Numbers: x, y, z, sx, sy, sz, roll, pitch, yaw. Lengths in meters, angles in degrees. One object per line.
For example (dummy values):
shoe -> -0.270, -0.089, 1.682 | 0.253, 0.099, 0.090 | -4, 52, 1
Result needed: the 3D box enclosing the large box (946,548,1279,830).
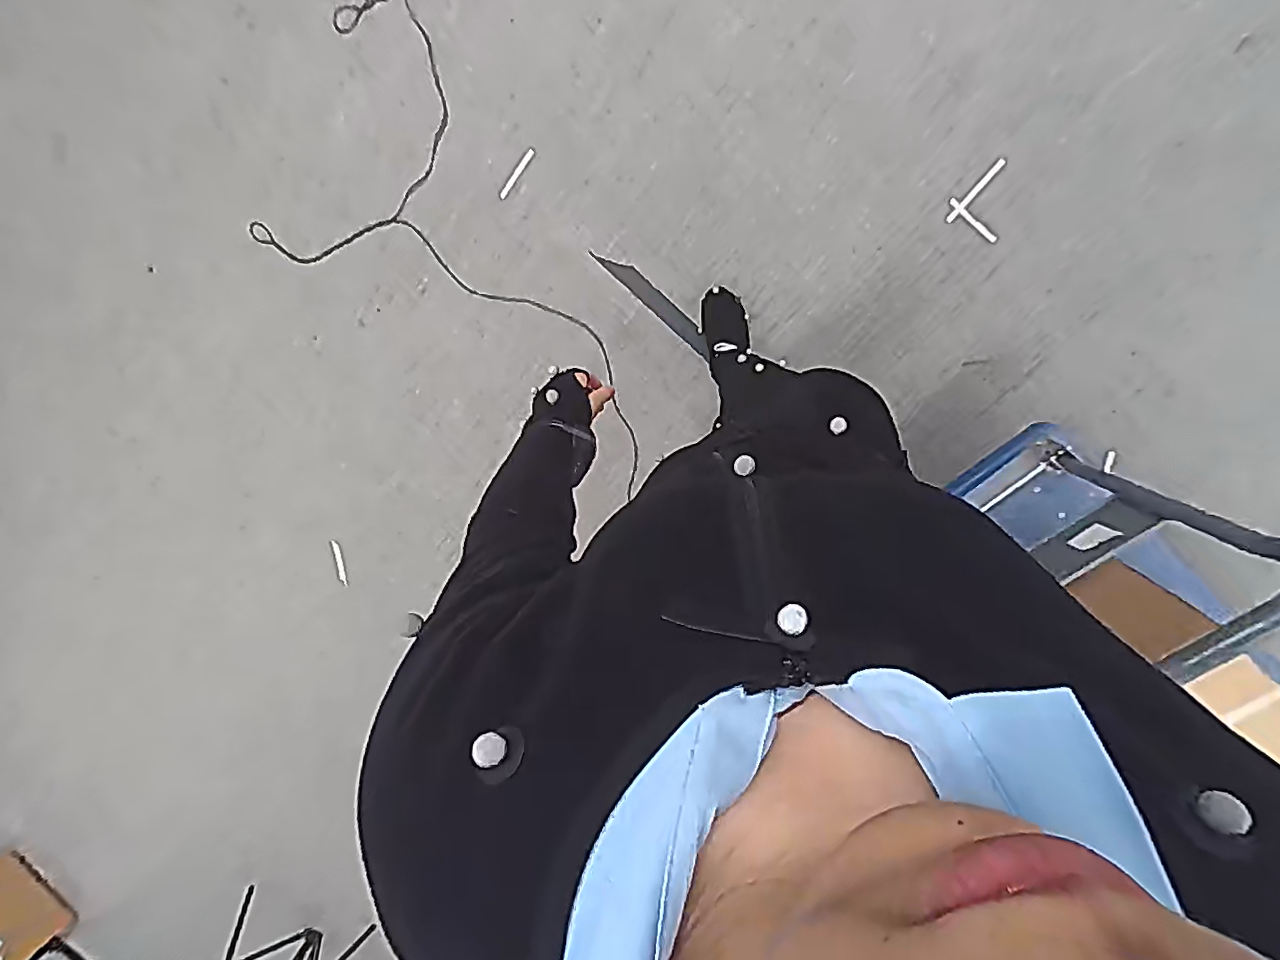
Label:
large box -> 0.961, 0.419, 1.142 | 0.320, 0.320, 0.408 | 45, 108, -4
